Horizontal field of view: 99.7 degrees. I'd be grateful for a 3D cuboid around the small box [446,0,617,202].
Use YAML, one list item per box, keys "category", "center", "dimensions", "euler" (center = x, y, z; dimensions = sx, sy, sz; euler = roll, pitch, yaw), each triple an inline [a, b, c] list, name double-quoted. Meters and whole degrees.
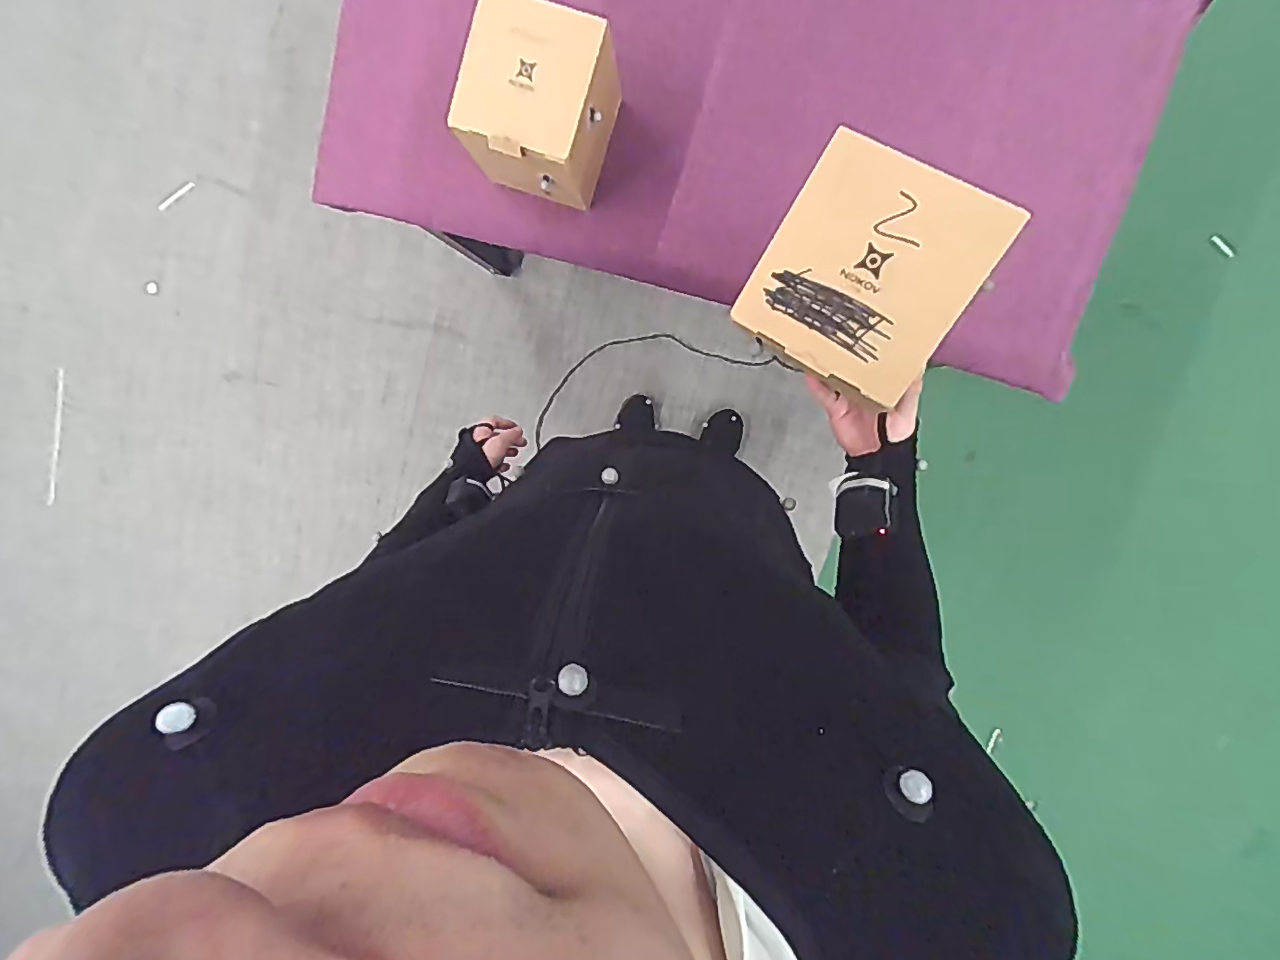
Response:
- category: "small box"
  center: [-0.139, -0.521, 0.753]
  dimensions: [0.168, 0.176, 0.179]
  euler: [20, 98, 2]
